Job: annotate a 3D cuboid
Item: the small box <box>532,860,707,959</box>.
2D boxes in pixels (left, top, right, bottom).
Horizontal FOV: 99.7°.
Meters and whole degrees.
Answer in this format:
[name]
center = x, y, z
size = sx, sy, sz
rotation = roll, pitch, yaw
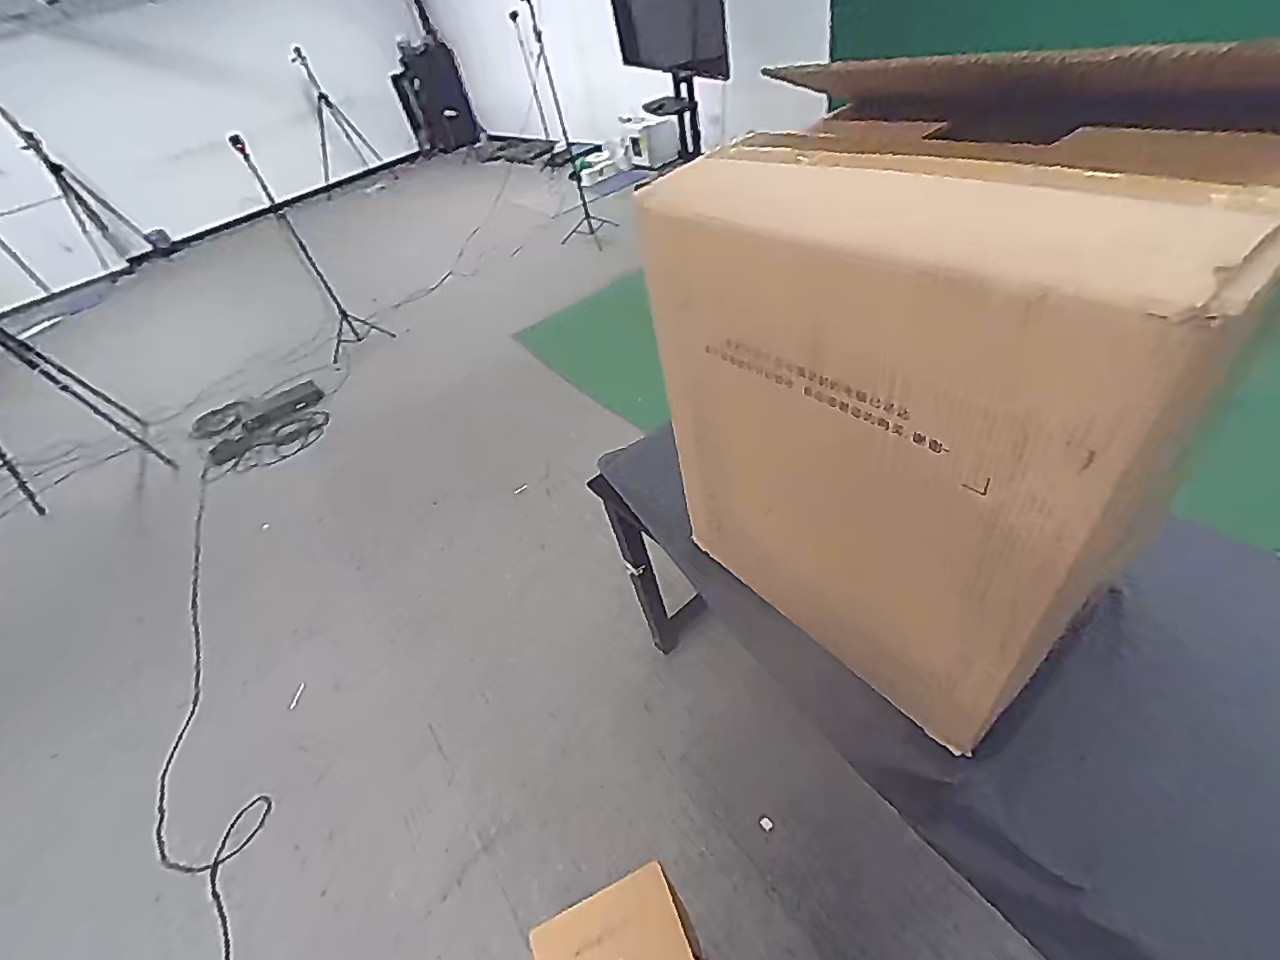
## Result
[small box]
center = 0.001, 0.580, 0.594
size = 0.168, 0.176, 0.179
rotation = -24, 31, -11
